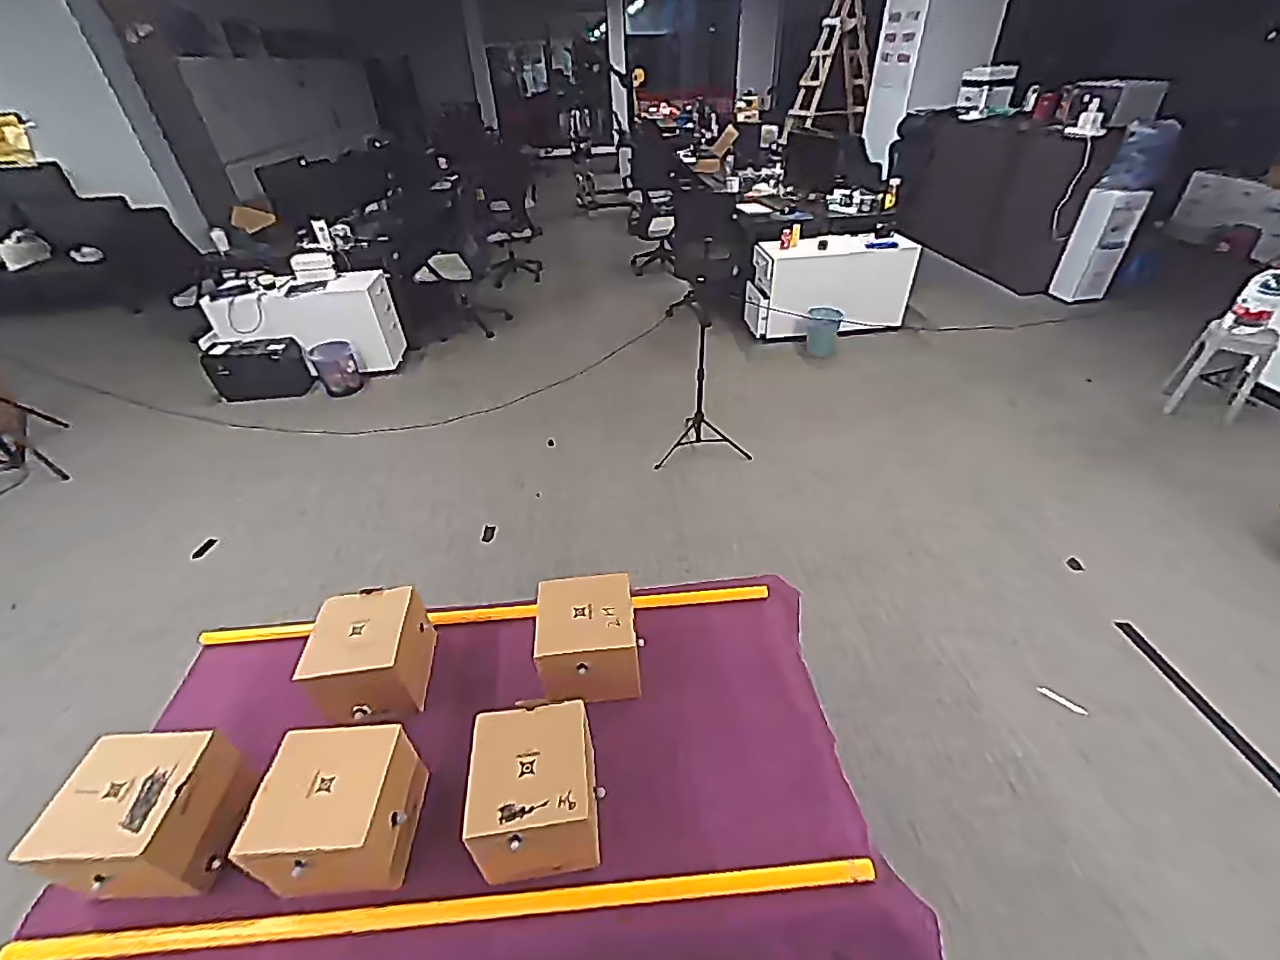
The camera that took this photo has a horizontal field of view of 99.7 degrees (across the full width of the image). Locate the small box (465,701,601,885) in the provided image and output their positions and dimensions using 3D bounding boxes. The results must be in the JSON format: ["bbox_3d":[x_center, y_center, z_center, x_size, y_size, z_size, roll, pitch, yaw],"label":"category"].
[{"bbox_3d":[-0.150,0.465,0.812,0.168,0.176,0.179,-7,36,-4],"label":"small box"}]

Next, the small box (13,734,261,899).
[{"bbox_3d":[-0.718,0.499,0.804,0.179,0.176,0.168,-2,38,1],"label":"small box"}]

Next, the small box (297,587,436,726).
[{"bbox_3d":[-0.494,0.328,1.012,0.168,0.176,0.179,-7,39,-4],"label":"small box"}]

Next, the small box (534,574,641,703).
[{"bbox_3d":[-0.094,0.301,1.018,0.179,0.176,0.168,-5,40,-2],"label":"small box"}]

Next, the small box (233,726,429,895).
[{"bbox_3d":[-0.435,0.489,0.803,0.179,0.176,0.168,-4,38,0],"label":"small box"}]
